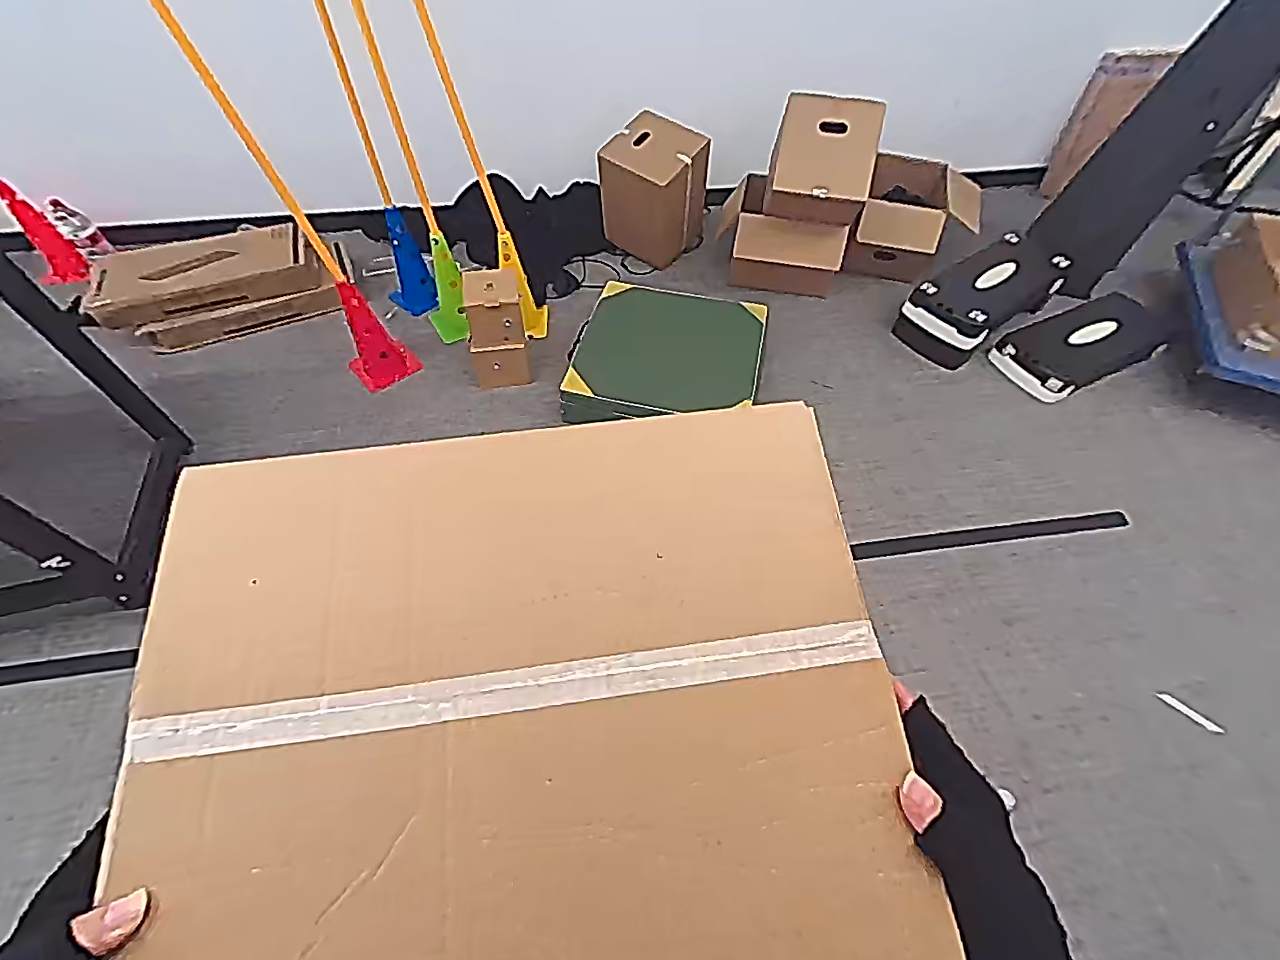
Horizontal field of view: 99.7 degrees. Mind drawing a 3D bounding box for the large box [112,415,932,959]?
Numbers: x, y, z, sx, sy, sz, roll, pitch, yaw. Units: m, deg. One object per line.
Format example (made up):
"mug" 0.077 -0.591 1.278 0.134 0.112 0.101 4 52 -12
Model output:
"large box" -0.070 0.173 0.445 0.408 0.320 0.320 -7 68 -3
